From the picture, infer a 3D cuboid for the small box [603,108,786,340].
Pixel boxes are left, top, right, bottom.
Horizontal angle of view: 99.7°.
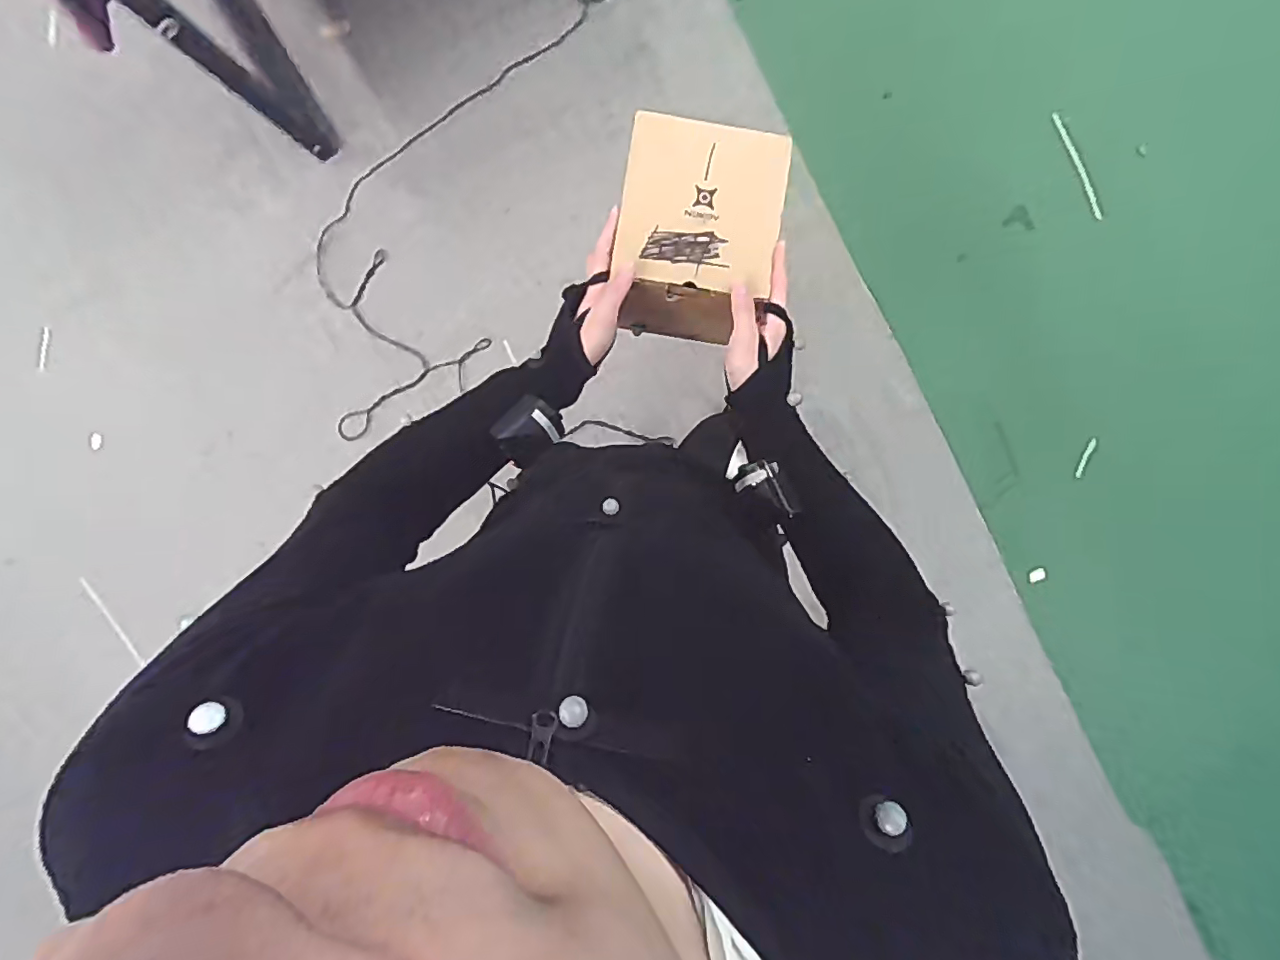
[{"bbox_3d":[0.054,-0.275,0.620,0.168,0.176,0.179,8,88,-1],"label":"small box"}]
